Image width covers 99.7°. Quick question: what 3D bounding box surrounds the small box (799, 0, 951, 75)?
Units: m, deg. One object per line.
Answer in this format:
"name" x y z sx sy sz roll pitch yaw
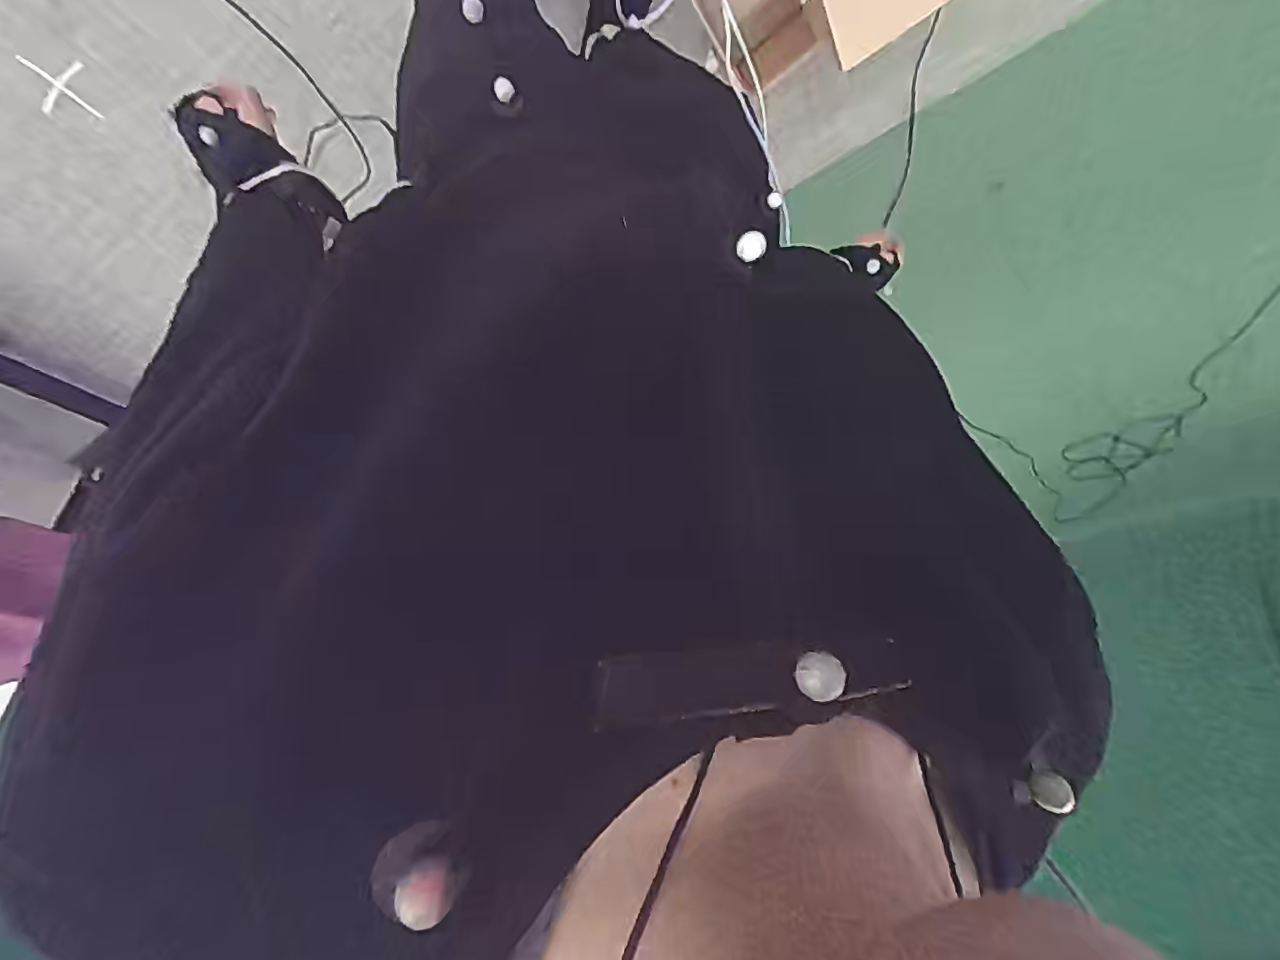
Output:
"small box" 0.322 -0.749 0.779 0.179 0.176 0.168 -24 144 23
